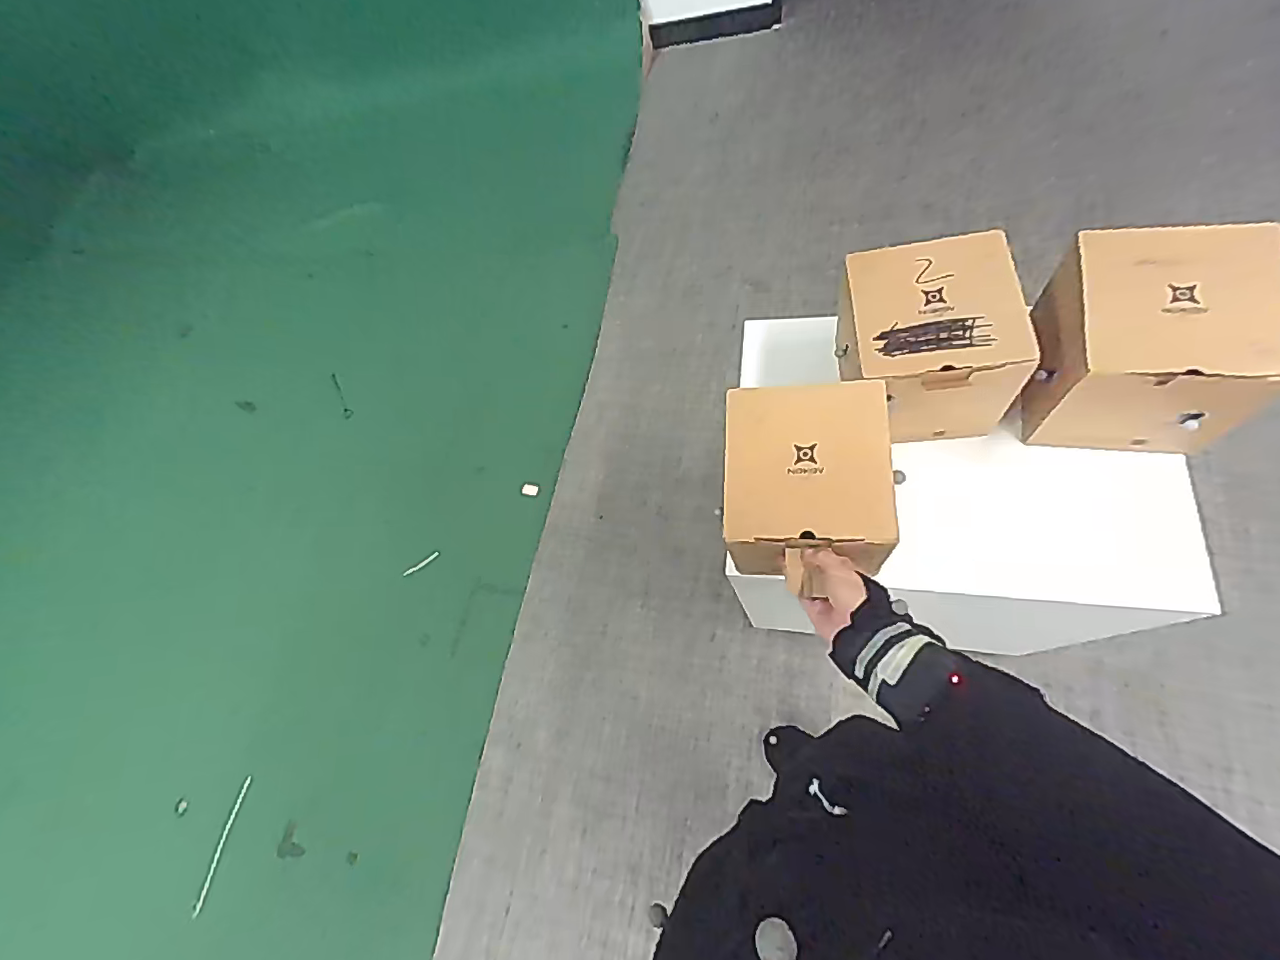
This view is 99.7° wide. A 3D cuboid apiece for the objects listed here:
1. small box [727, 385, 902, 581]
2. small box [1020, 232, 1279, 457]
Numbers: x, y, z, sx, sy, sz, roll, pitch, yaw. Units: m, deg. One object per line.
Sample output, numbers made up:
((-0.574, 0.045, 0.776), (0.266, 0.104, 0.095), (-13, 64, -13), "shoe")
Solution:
((0.192, 0.011, 0.623), (0.168, 0.176, 0.179), (-1, 69, 15), "small box")
((0.540, -0.138, 0.590), (0.168, 0.176, 0.179), (6, 69, 17), "small box")
